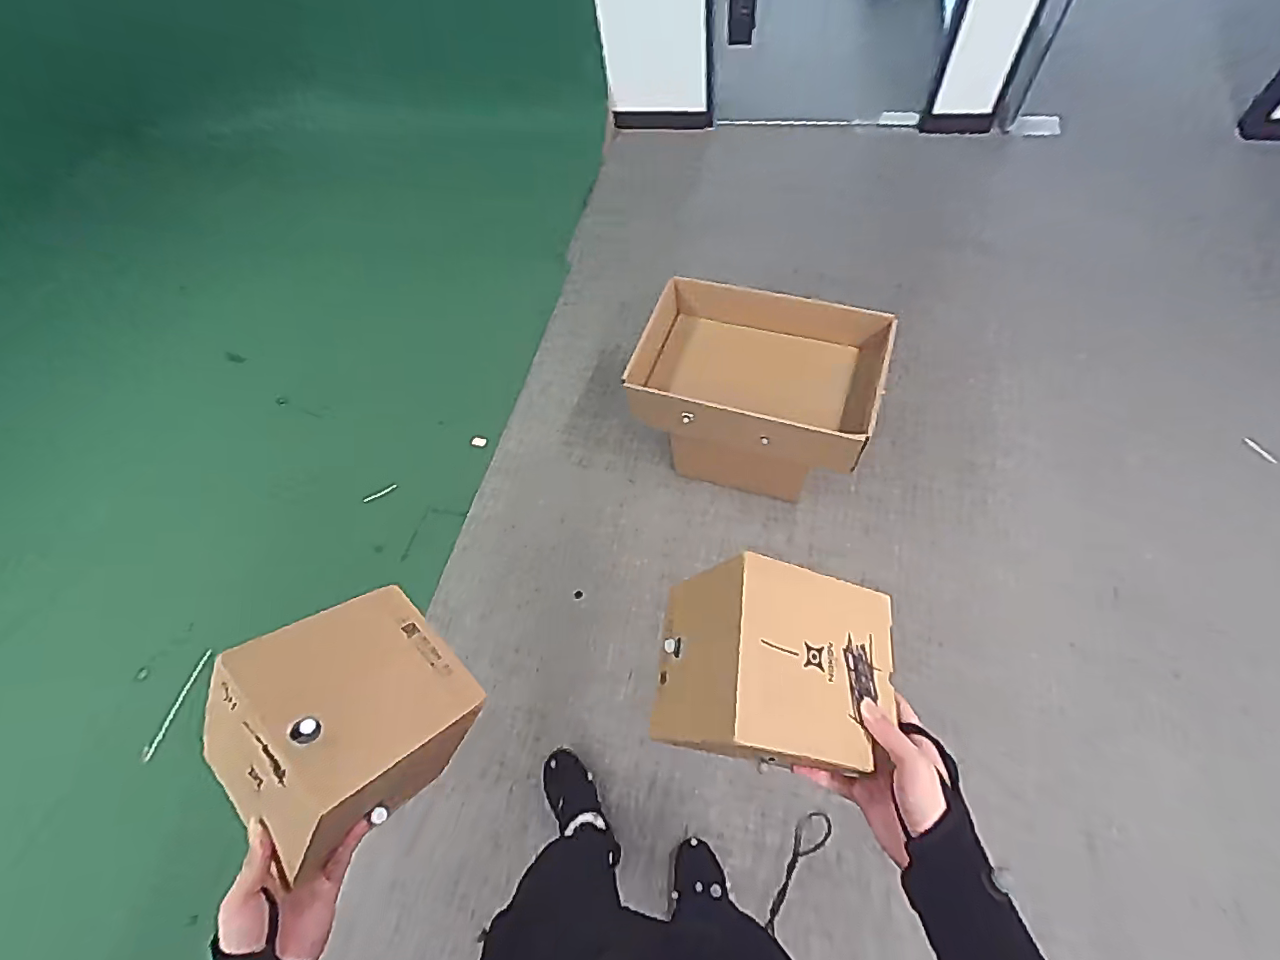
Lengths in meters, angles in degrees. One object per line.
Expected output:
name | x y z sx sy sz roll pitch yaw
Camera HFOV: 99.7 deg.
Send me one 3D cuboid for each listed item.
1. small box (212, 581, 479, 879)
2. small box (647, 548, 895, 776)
small box | -0.290 0.235 0.541 0.168 0.179 0.176 42 31 17
small box | 0.127 0.190 0.553 0.179 0.176 0.168 19 60 -14
